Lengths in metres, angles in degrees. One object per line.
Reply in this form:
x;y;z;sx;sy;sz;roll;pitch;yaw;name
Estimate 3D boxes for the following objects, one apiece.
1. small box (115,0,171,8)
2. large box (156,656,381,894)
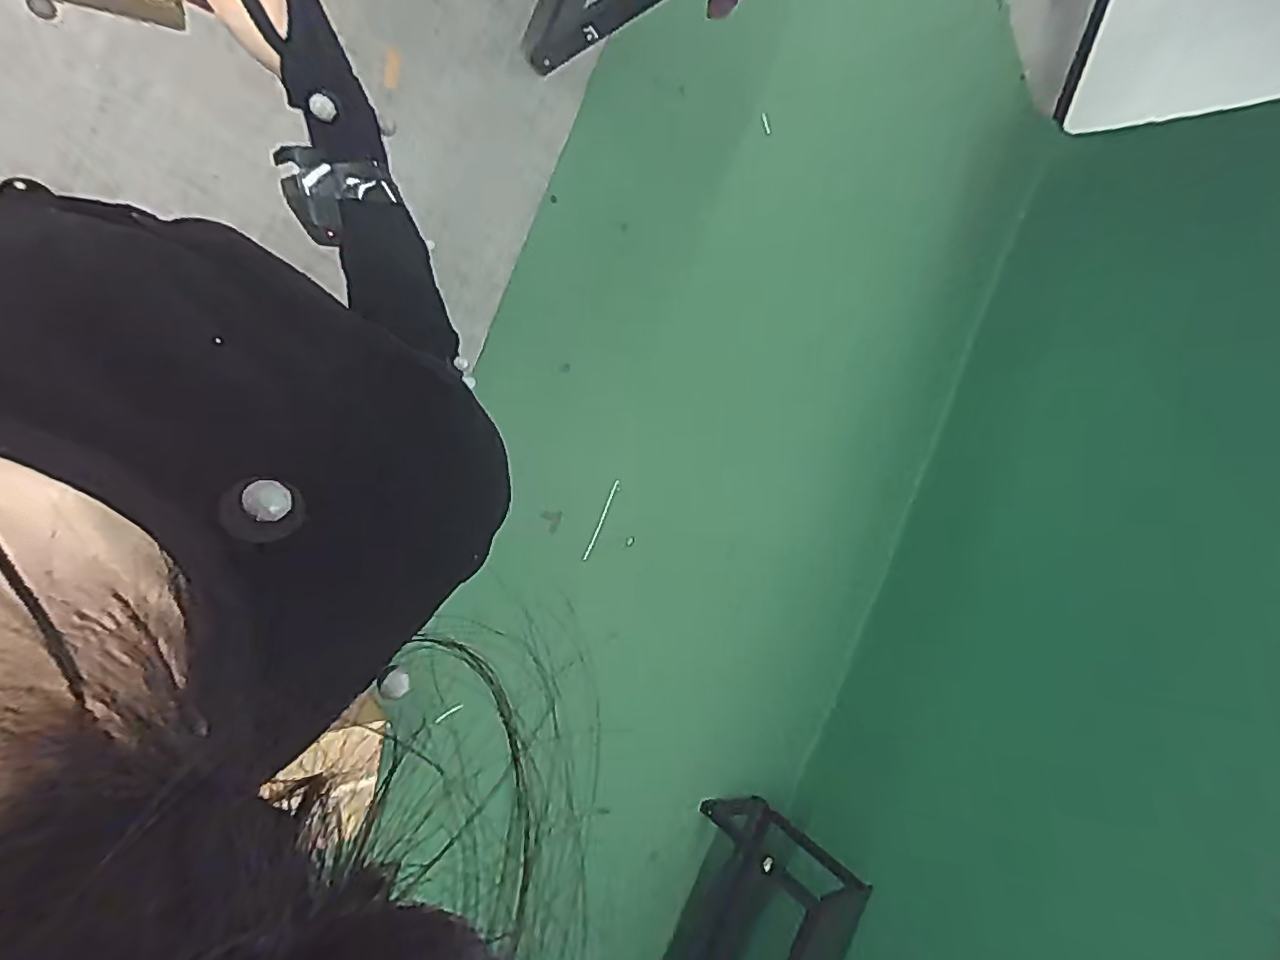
-0.398;-0.419;0.316;0.168;0.176;0.179;-10;125;-34;small box
-0.902;0.665;1.309;0.408;0.320;0.320;4;102;-43;large box
